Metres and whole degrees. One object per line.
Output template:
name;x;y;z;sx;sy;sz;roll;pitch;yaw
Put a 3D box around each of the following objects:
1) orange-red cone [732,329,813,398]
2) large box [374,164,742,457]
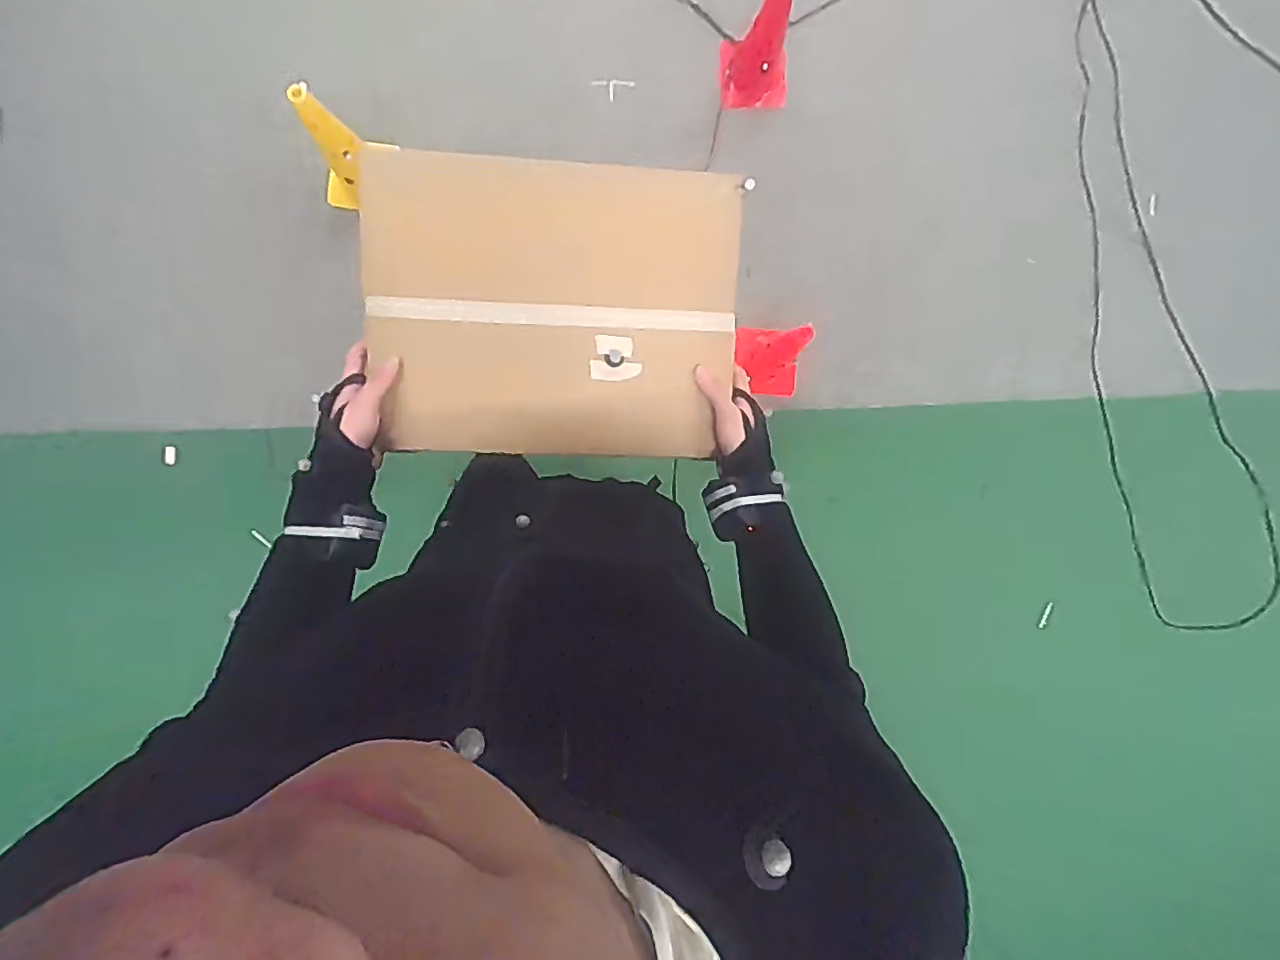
orange-red cone;0.393;-0.351;1.484;0.199;0.360;0.198;5;92;-5
large box;-0.102;-0.205;0.755;0.408;0.320;0.320;1;100;-6
